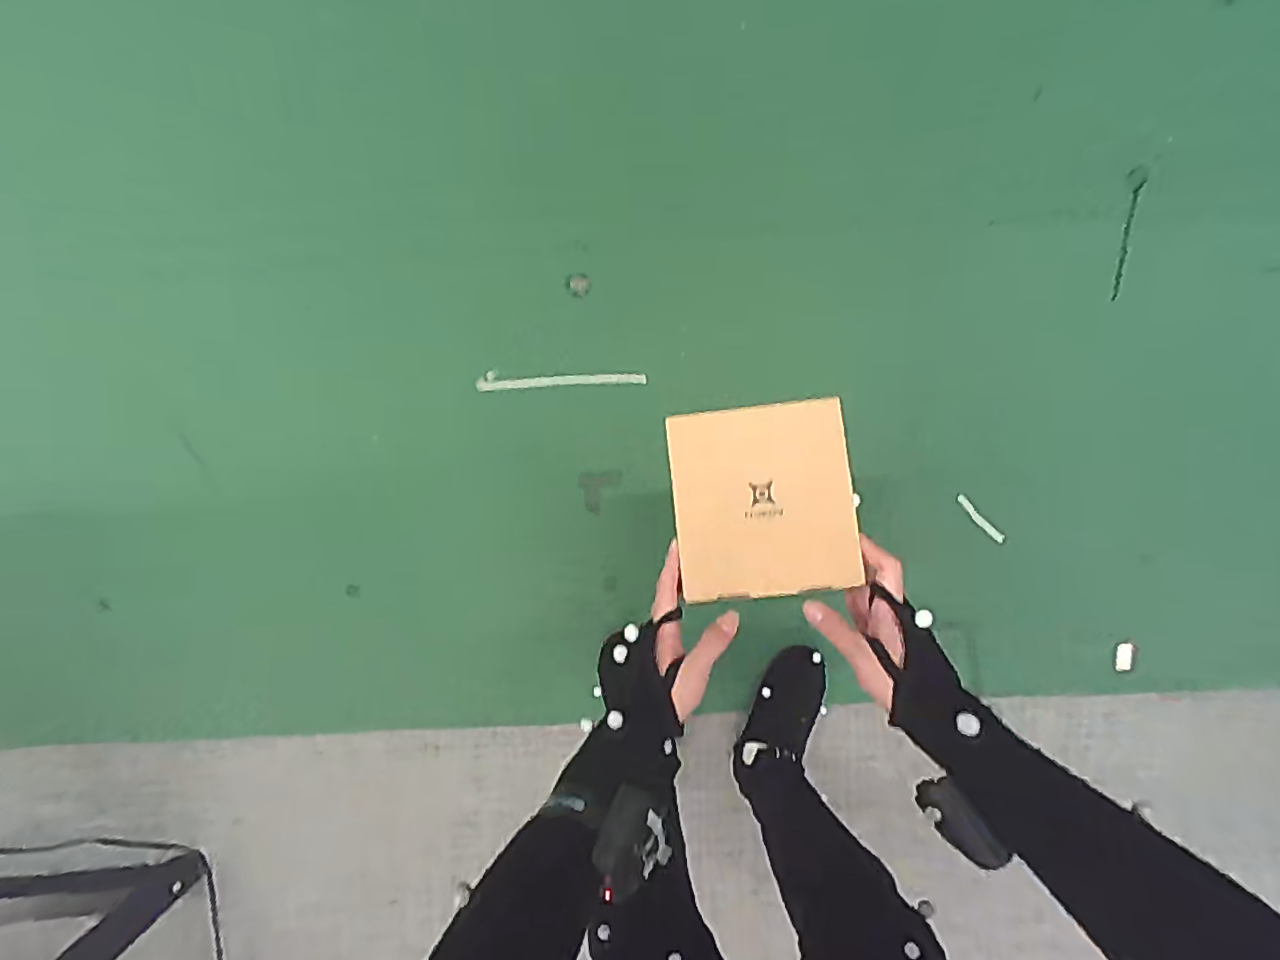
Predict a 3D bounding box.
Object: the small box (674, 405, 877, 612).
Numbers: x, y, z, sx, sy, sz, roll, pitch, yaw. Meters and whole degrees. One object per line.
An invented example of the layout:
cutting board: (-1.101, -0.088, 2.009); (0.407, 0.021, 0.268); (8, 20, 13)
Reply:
small box: (0.124, 0.033, 0.566); (0.168, 0.176, 0.179); (-7, 84, 4)
